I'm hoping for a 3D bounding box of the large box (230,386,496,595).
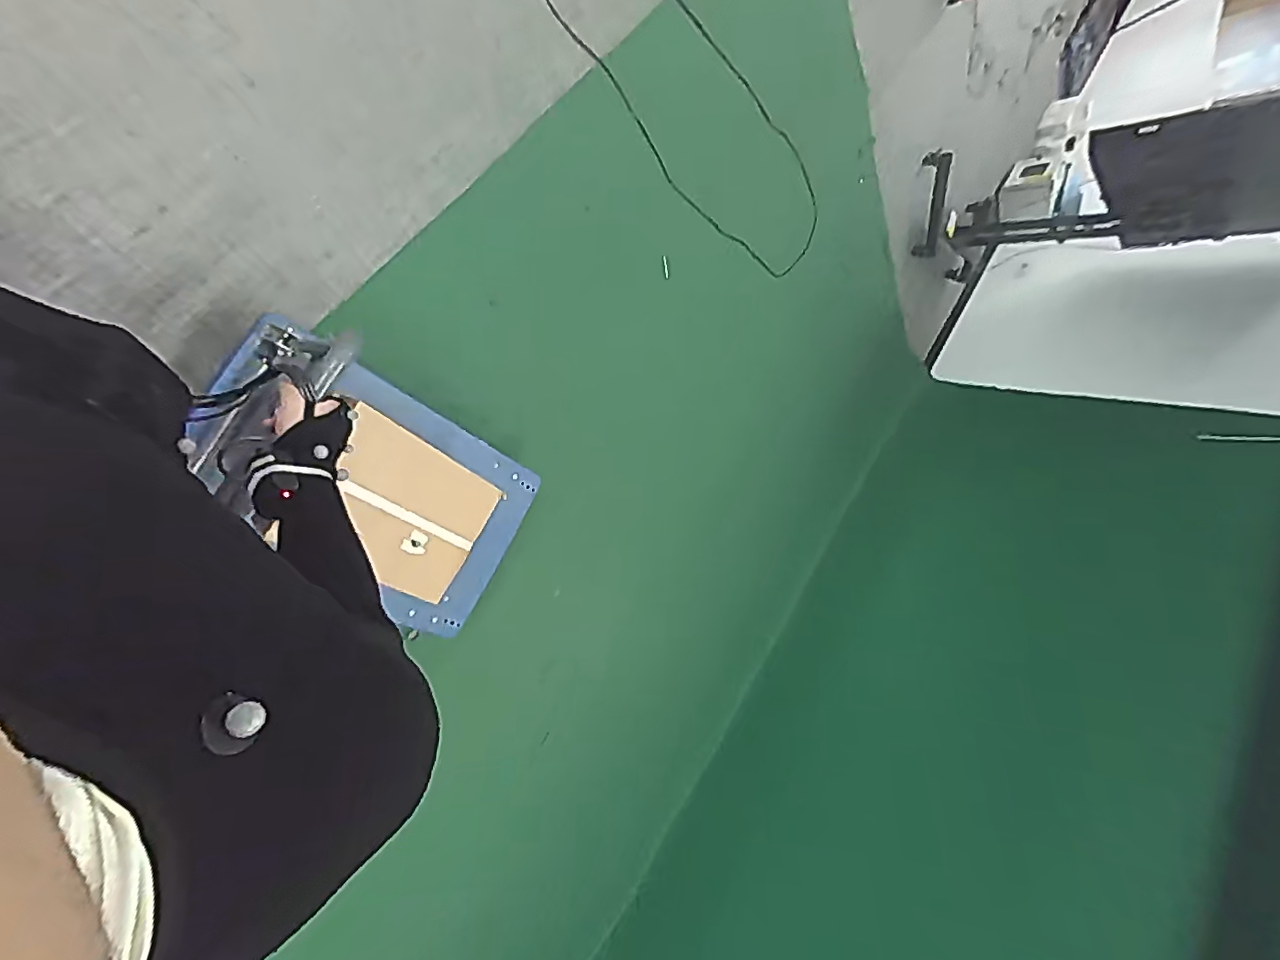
[{"bbox_3d":[-0.638,0.023,1.274,0.408,0.320,0.320,41,73,-45],"label":"large box"}]
